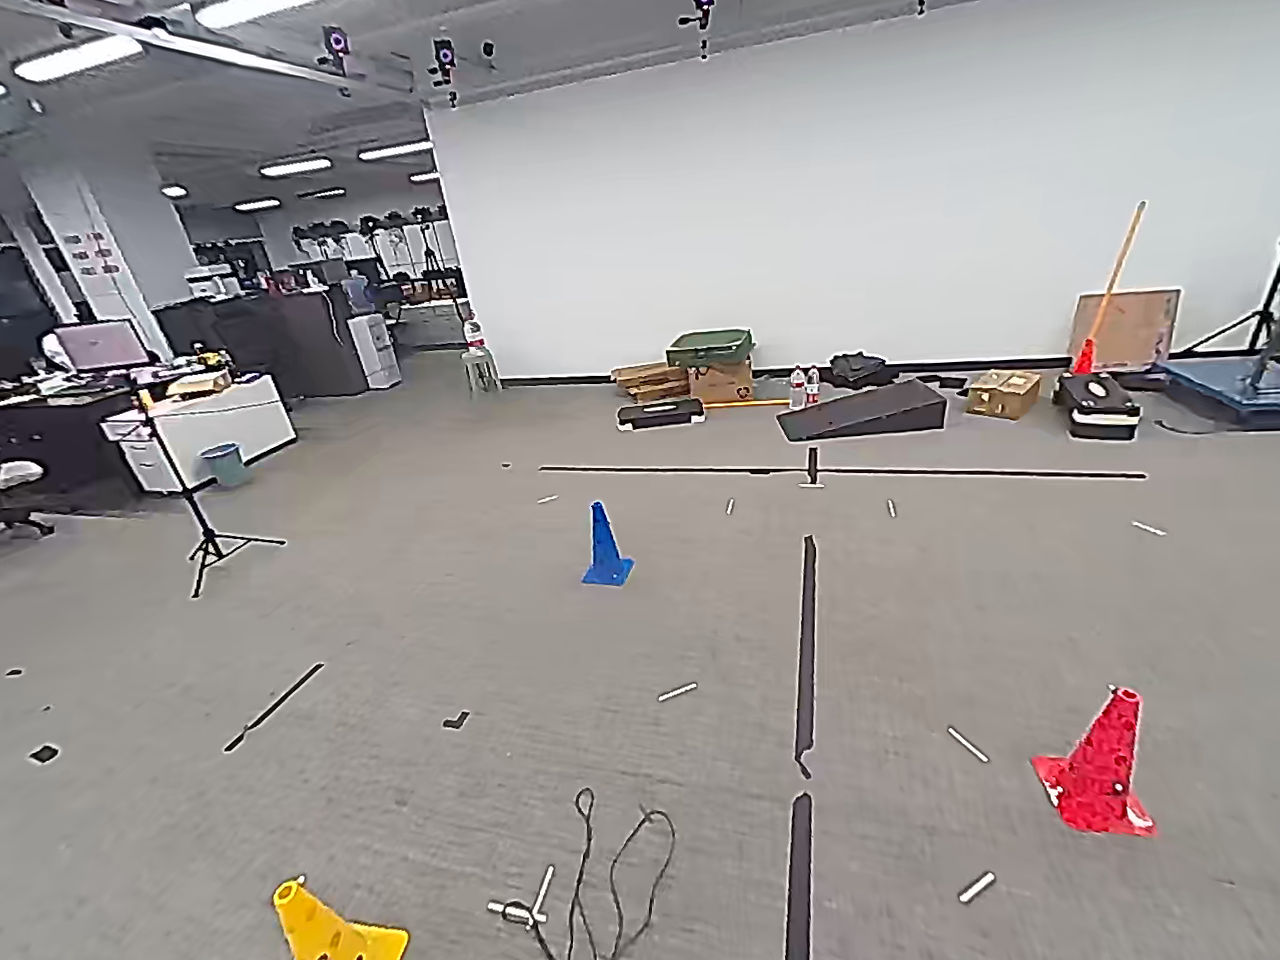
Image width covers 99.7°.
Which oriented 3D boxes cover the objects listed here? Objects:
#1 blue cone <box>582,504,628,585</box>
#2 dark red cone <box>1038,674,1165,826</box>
[{"bbox_3d":[-0.180,0.279,2.418,0.192,0.380,0.193,0,27,18],"label":"blue cone"},{"bbox_3d":[1.128,0.617,1.289,0.201,0.394,0.202,-4,26,11],"label":"dark red cone"}]
